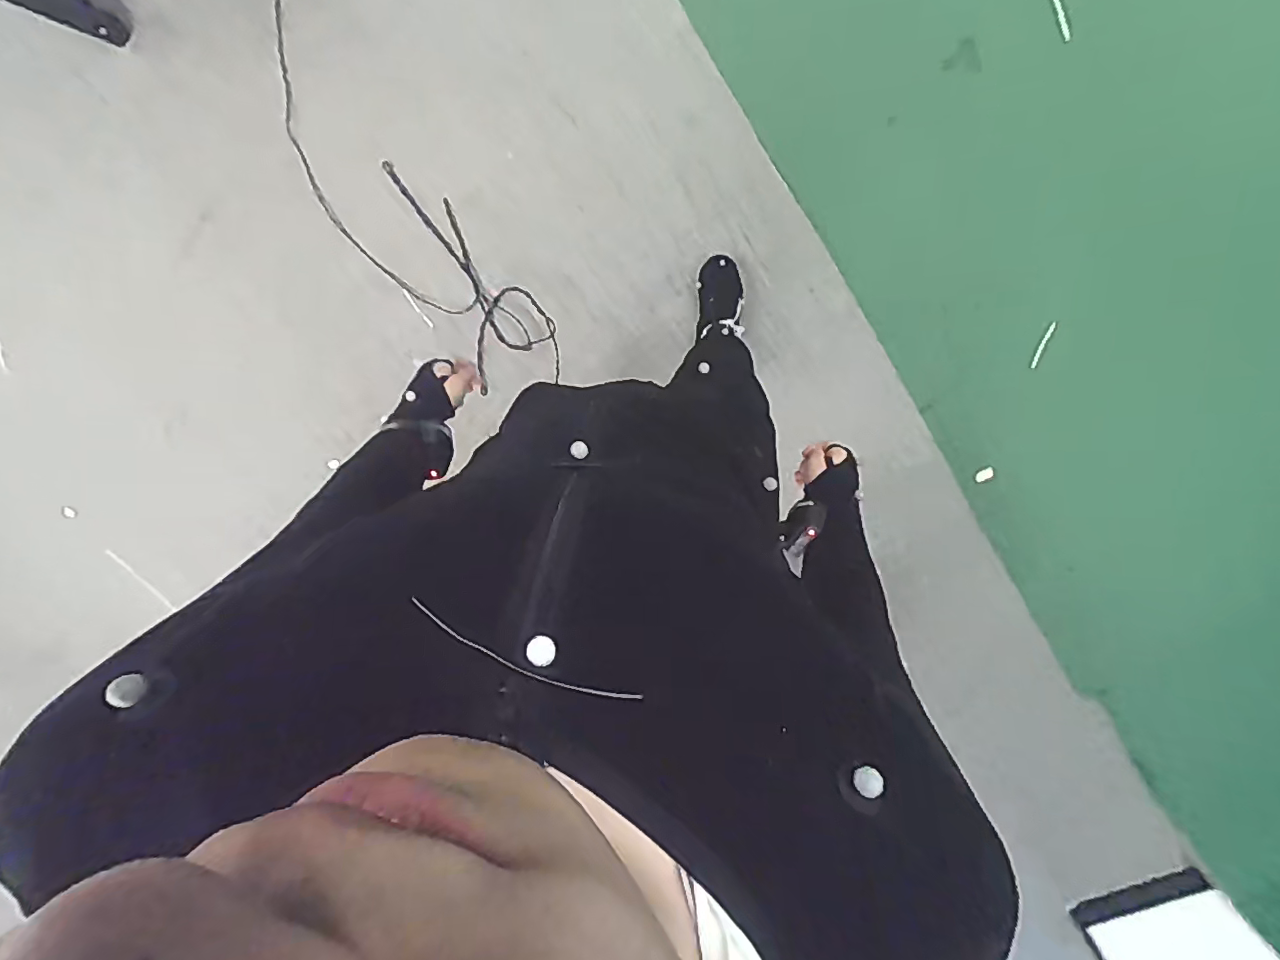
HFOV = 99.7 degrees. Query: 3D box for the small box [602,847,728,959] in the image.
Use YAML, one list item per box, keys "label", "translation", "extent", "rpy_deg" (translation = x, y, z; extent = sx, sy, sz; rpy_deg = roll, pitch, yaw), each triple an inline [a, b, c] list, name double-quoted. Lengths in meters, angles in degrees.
- label: "small box"
  translation: [0.046, 0.833, 1.006]
  extent: [0.179, 0.176, 0.168]
  rpy_deg: [-34, 104, 13]
